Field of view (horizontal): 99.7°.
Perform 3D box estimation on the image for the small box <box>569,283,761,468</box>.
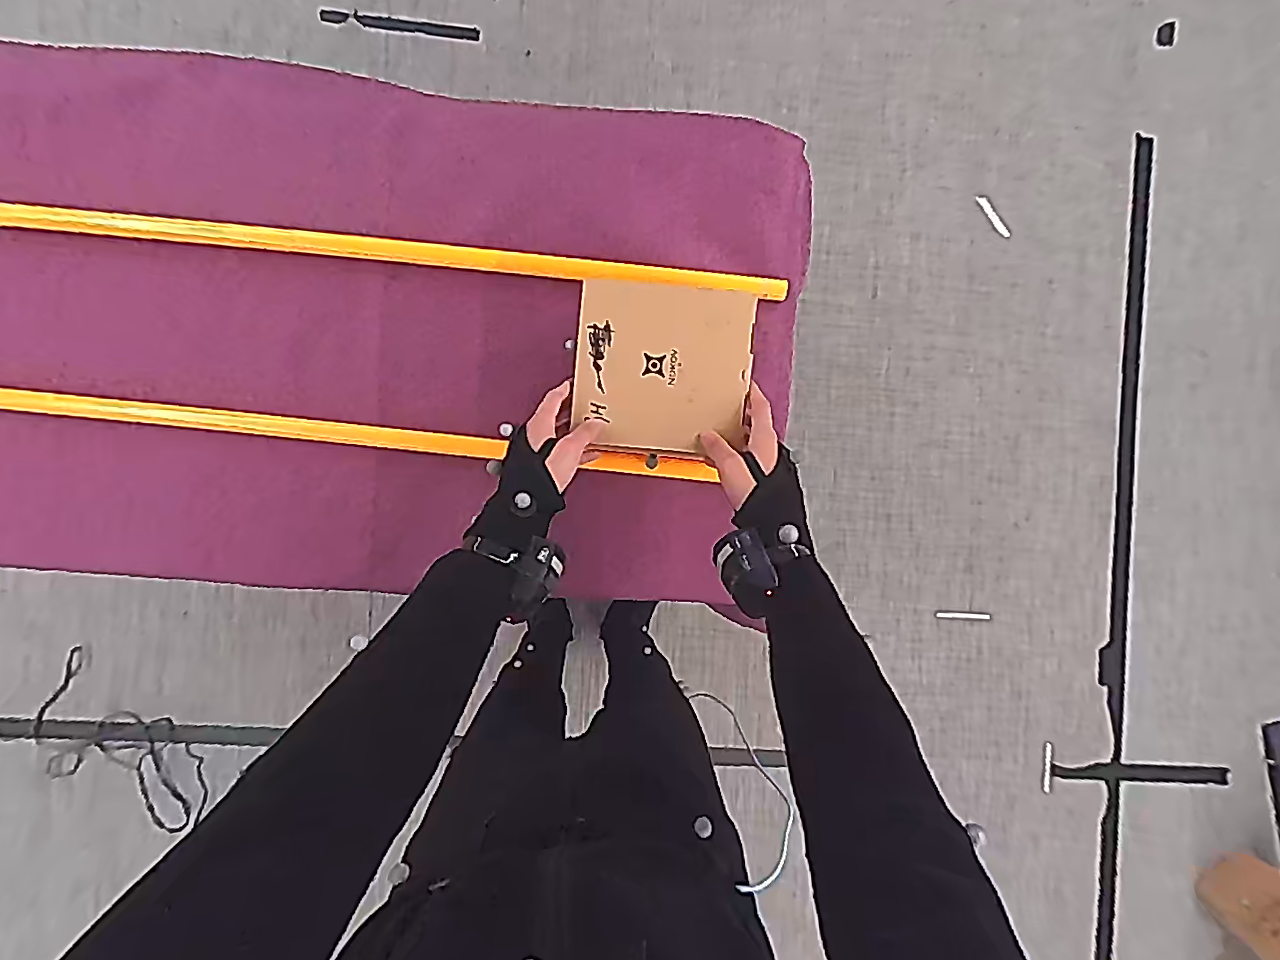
[{"bbox_3d":[0.024,-0.104,0.611,0.179,0.176,0.168,6,90,0],"label":"small box"}]
